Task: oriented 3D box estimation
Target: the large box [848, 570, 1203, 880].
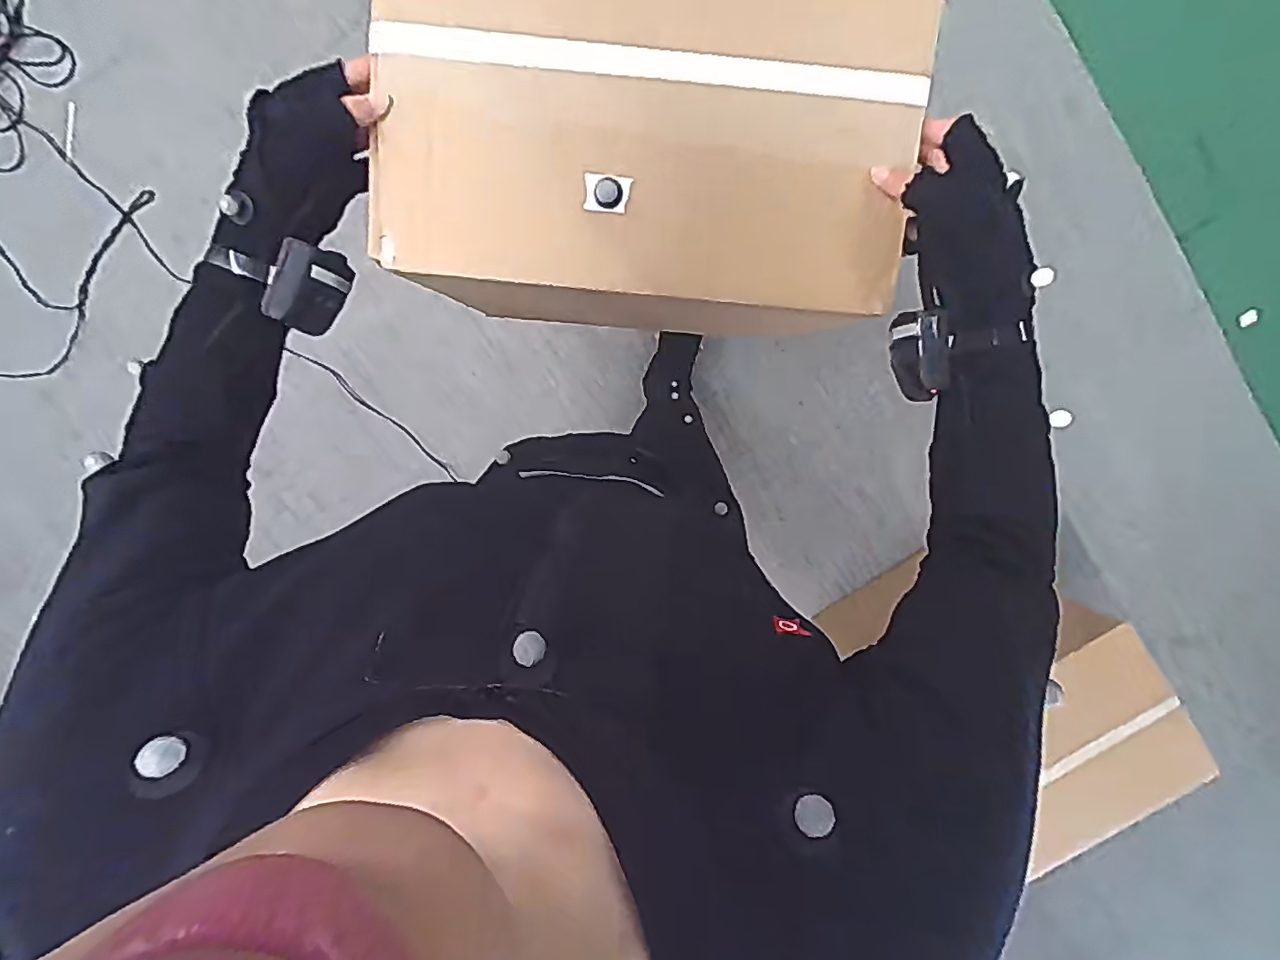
[{"bbox_3d":[0.701,0.439,1.051,0.408,0.320,0.320,-33,94,4],"label":"large box"}]
